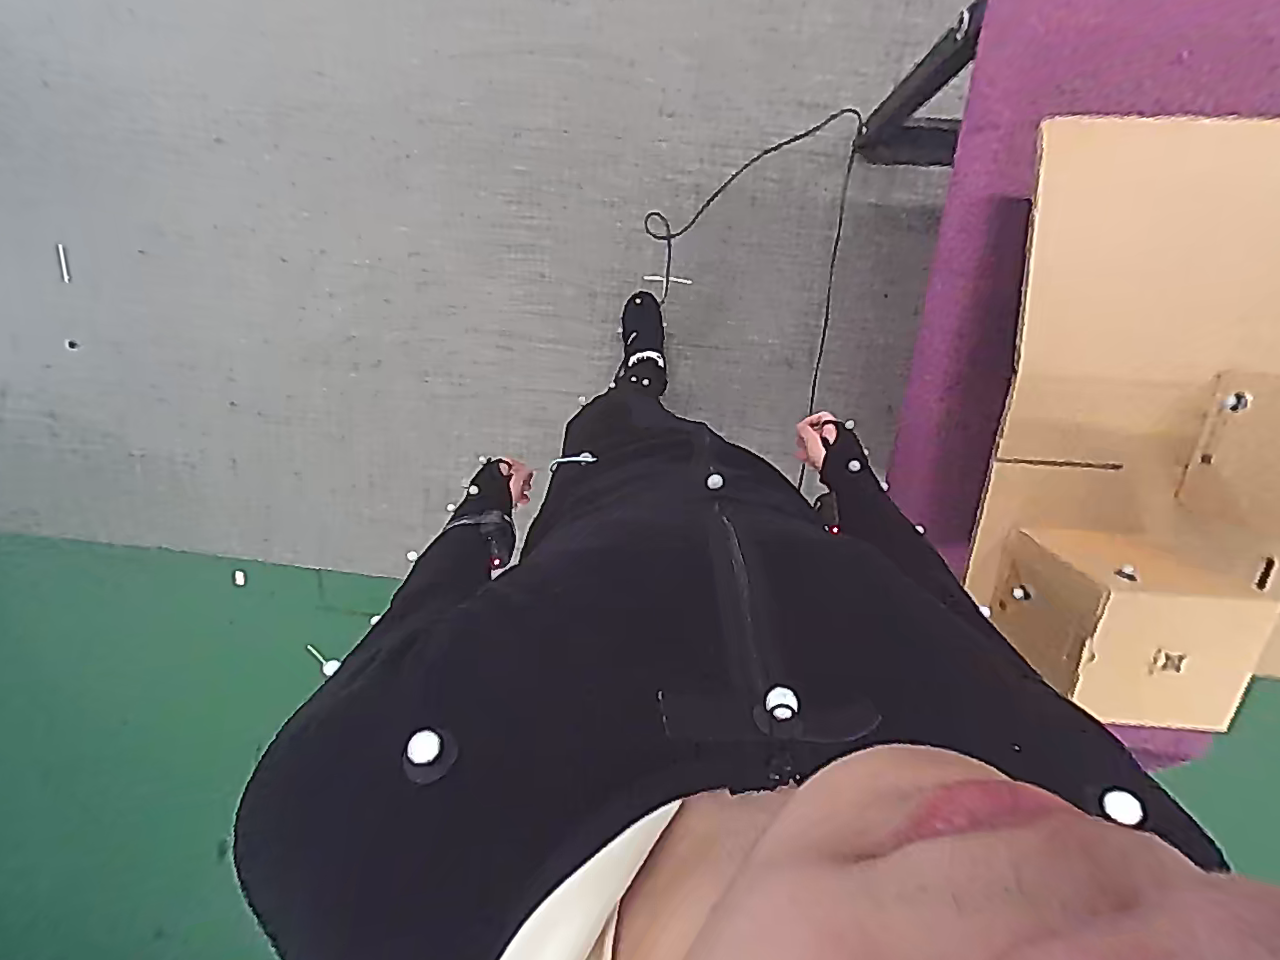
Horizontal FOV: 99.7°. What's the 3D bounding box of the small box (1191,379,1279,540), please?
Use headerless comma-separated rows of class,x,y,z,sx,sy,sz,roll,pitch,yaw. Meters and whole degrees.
small box,0.762,-0.013,0.572,0.179,0.176,0.168,3,108,2

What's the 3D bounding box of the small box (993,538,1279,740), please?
small box,0.571,0.178,0.645,0.179,0.176,0.168,3,107,4
